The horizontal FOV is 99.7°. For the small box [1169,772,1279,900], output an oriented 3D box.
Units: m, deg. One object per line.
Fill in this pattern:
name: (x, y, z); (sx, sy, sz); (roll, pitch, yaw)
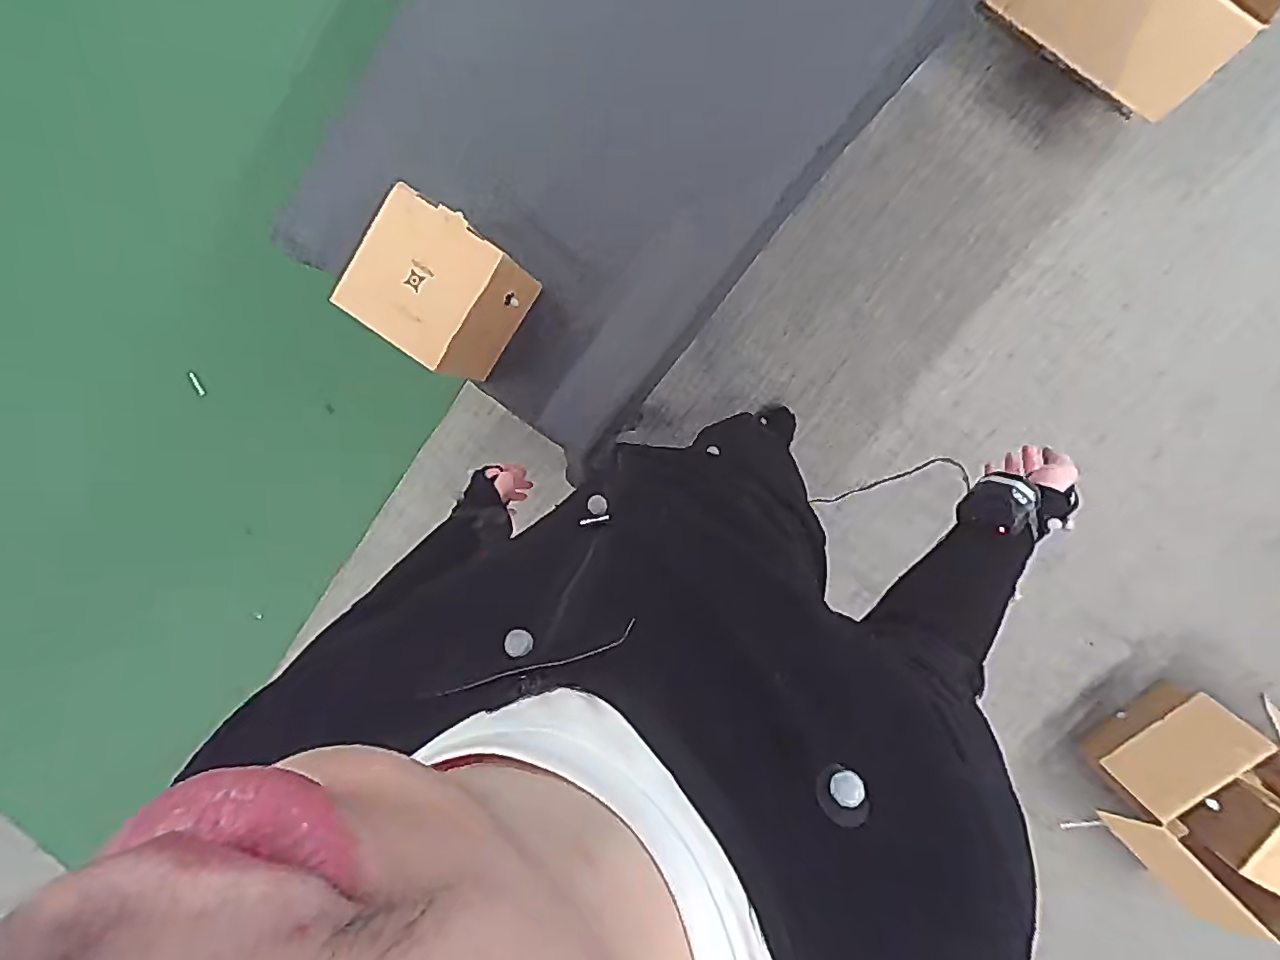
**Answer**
small box: (1.423, 0.827, 1.260); (0.179, 0.176, 0.168); (31, 98, 0)

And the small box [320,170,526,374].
small box: (-0.275, -0.263, 0.731); (0.168, 0.176, 0.179); (34, 99, 1)
